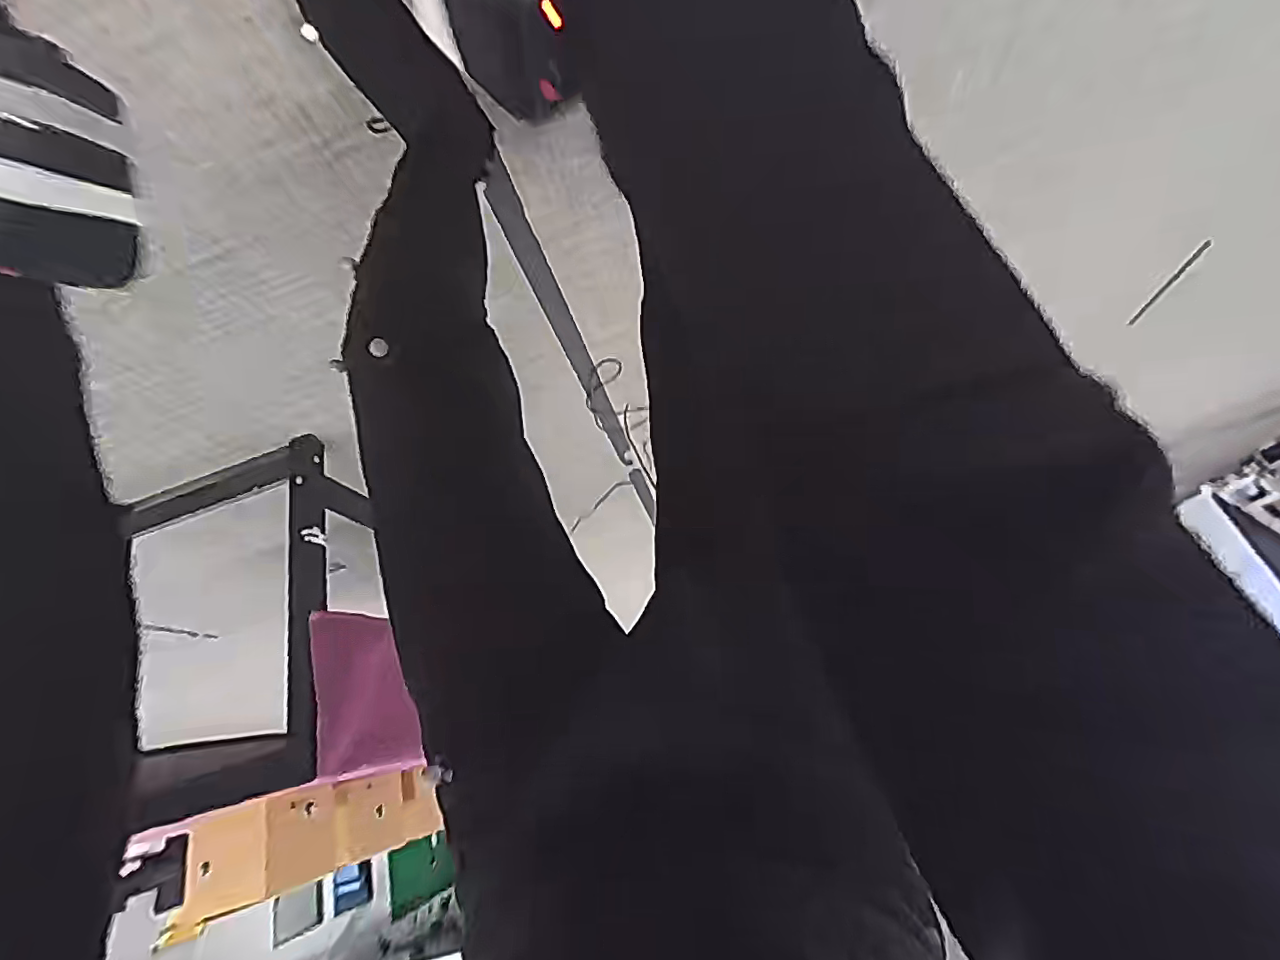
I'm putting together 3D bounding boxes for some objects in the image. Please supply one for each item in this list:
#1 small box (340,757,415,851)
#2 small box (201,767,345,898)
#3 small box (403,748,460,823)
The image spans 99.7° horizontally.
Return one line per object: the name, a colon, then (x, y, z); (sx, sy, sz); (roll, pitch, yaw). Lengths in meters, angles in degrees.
small box: (-0.684, 0.792, 1.324); (0.179, 0.176, 0.168); (-22, 155, 14)
small box: (-0.718, 0.688, 1.075); (0.179, 0.176, 0.168); (-19, 157, 8)
small box: (-0.644, 0.887, 1.557); (0.179, 0.176, 0.168); (-21, 156, 8)
